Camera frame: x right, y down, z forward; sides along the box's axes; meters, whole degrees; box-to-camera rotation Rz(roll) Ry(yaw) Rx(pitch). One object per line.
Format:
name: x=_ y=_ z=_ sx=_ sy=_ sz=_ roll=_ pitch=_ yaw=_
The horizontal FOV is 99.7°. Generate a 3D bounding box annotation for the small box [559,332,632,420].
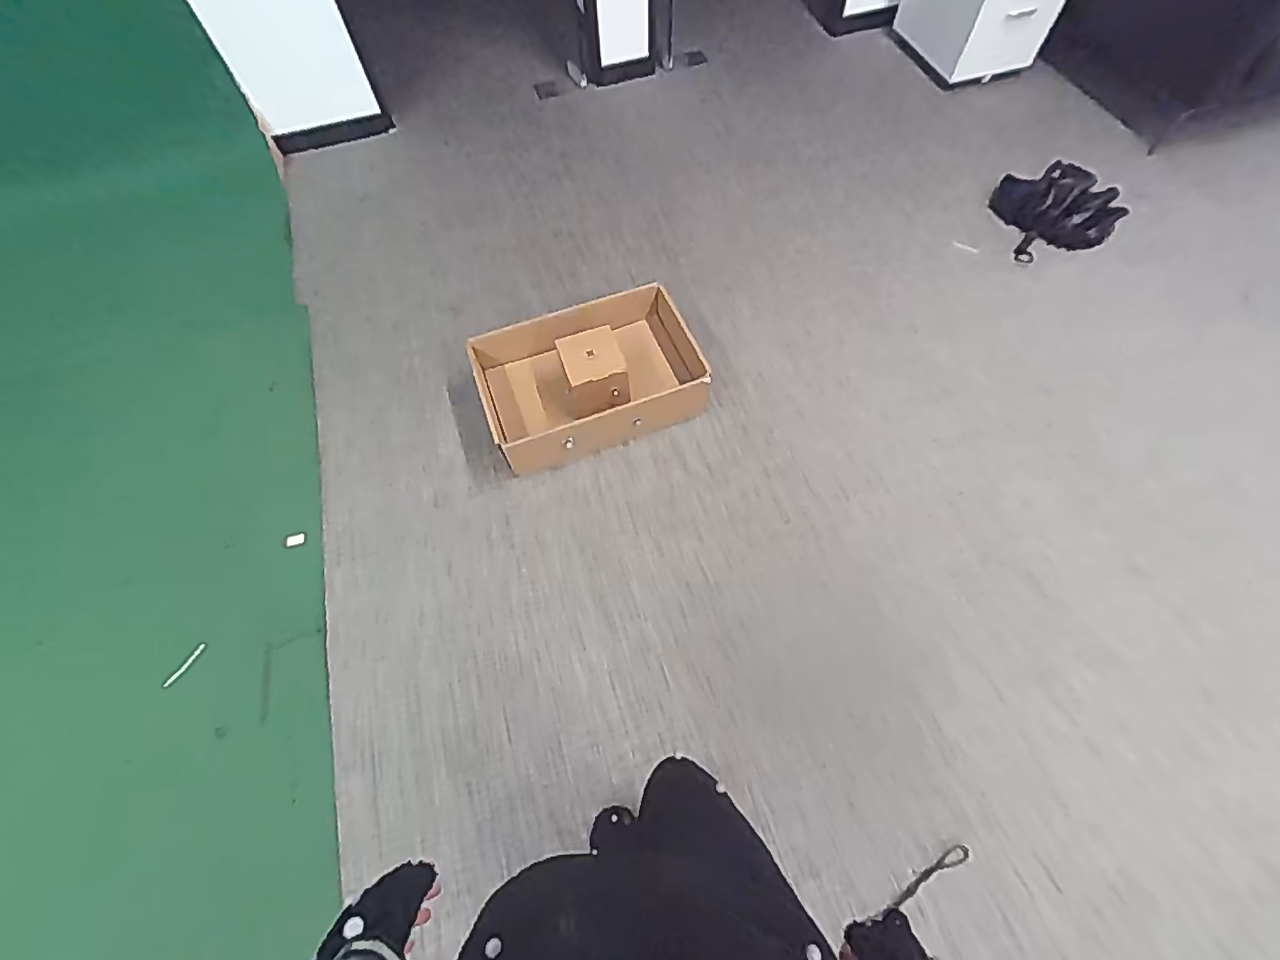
small box: x=-0.125 y=-0.295 z=1.576 sx=0.168 sy=0.176 sz=0.179 roll=-17 pitch=62 yaw=-8
